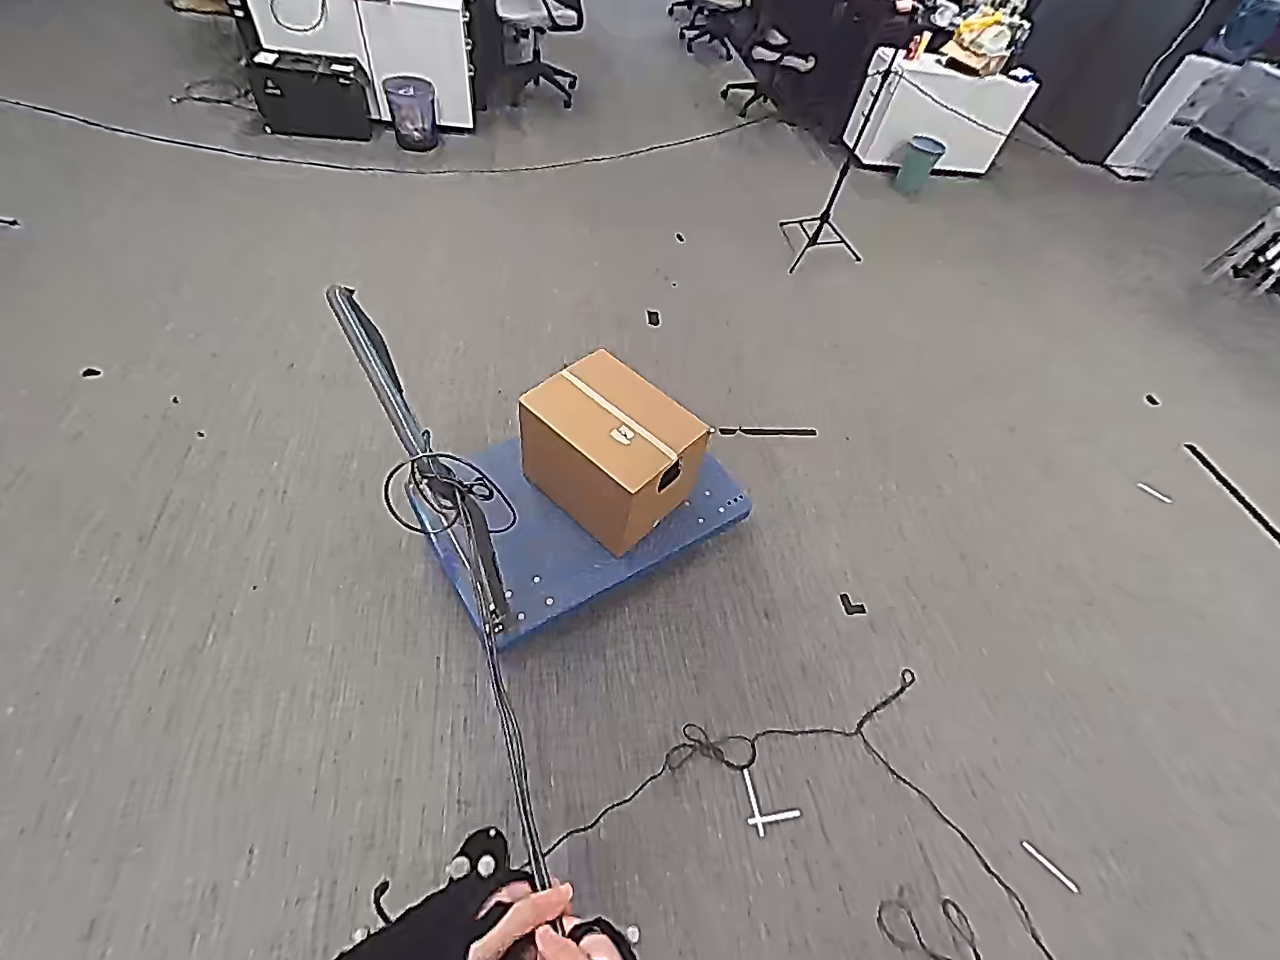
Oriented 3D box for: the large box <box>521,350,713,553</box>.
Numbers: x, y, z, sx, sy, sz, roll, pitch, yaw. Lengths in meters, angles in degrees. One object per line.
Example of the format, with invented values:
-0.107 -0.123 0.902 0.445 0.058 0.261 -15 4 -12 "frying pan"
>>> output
-0.080 -0.081 1.493 0.408 0.320 0.320 40 58 17 "large box"
